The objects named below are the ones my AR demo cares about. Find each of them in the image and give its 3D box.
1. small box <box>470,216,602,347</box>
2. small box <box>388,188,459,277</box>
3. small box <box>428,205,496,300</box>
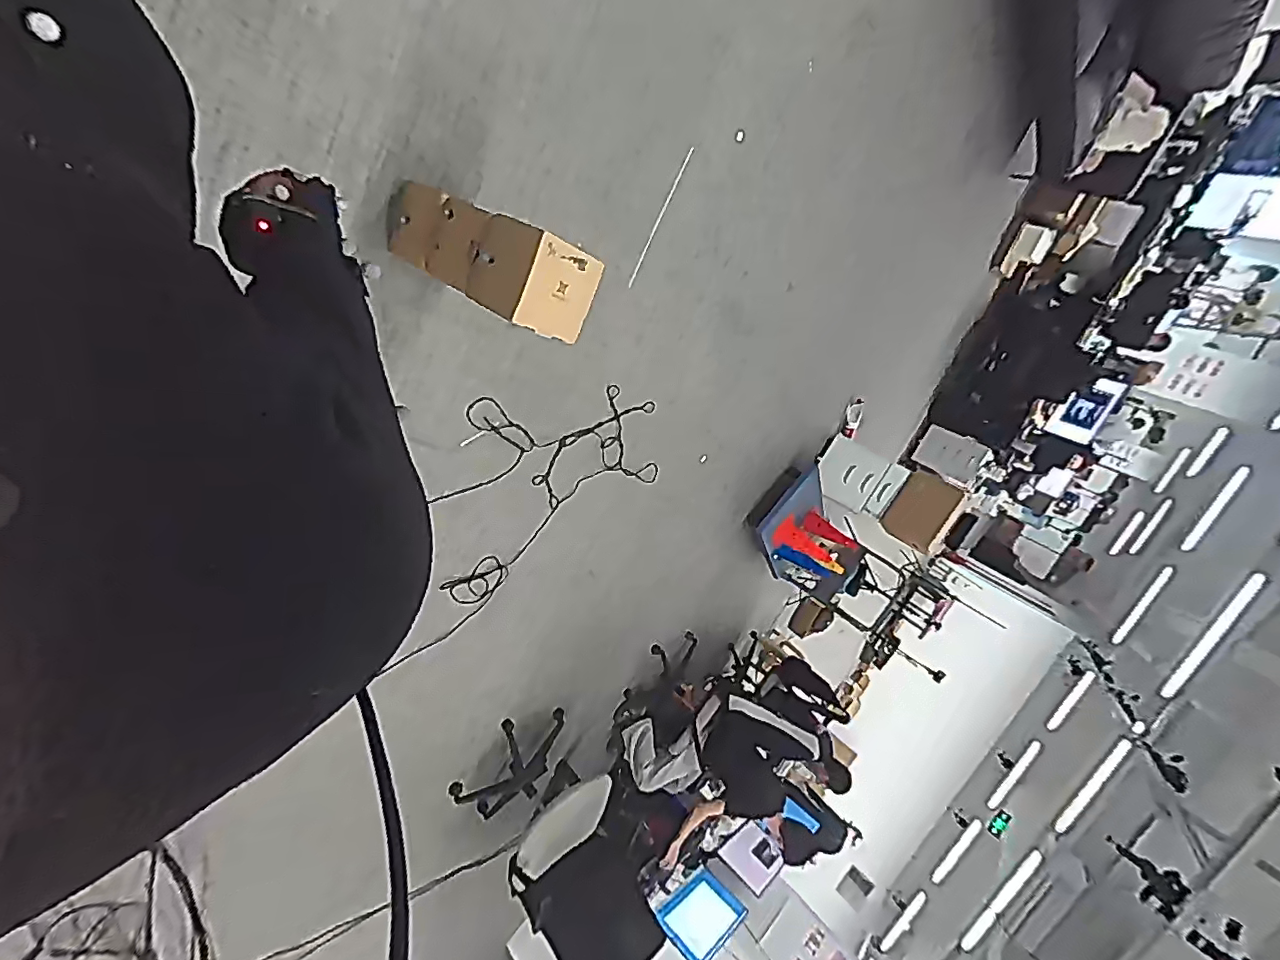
[{"bbox_3d":[-0.214,-0.396,1.084,0.168,0.176,0.179,6,114,-53],"label":"small box"},{"bbox_3d":[-0.448,-0.552,1.254,0.179,0.176,0.168,5,114,-52],"label":"small box"},{"bbox_3d":[-0.329,-0.473,1.172,0.179,0.176,0.168,5,114,-53],"label":"small box"}]
